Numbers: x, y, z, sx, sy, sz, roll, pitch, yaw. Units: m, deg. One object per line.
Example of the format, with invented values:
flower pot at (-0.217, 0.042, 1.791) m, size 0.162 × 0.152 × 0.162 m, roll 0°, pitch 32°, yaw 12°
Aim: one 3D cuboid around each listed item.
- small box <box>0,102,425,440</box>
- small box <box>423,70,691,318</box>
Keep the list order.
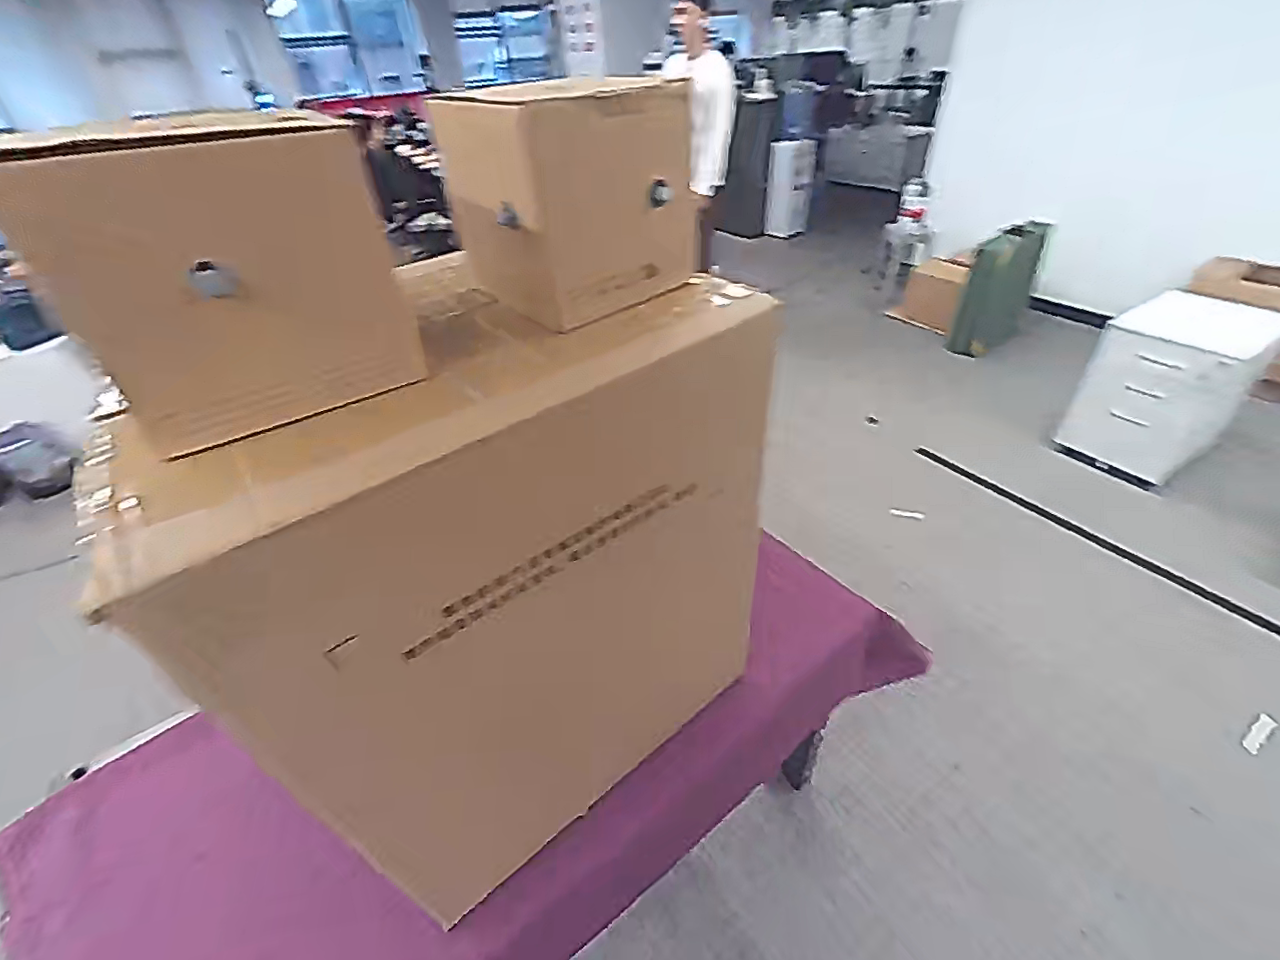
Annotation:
small box at (-0.281, -0.152, 0.376) m, size 0.179 × 0.176 × 0.168 m, roll -27°, pitch 44°, yaw -26°
small box at (-0.067, -0.266, 0.501) m, size 0.168 × 0.176 × 0.179 m, roll -30°, pitch 44°, yaw -28°
